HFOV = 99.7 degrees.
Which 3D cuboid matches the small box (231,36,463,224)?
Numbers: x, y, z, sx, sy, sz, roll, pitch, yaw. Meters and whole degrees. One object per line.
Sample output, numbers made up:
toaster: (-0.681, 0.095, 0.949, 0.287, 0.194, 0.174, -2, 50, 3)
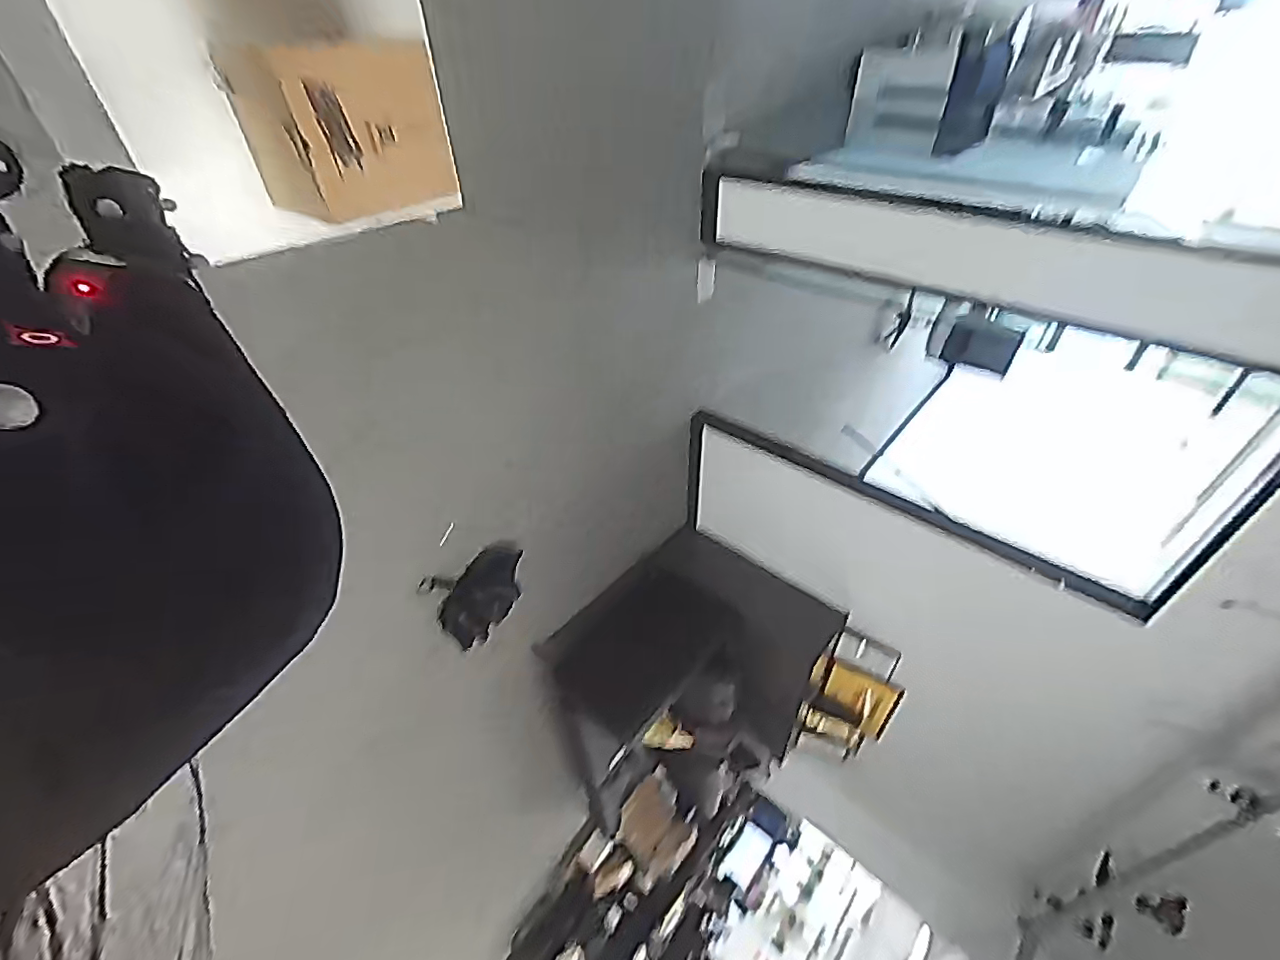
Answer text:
small box: (-0.351, -0.425, 0.653, 0.179, 0.176, 0.168, -37, 141, -34)
